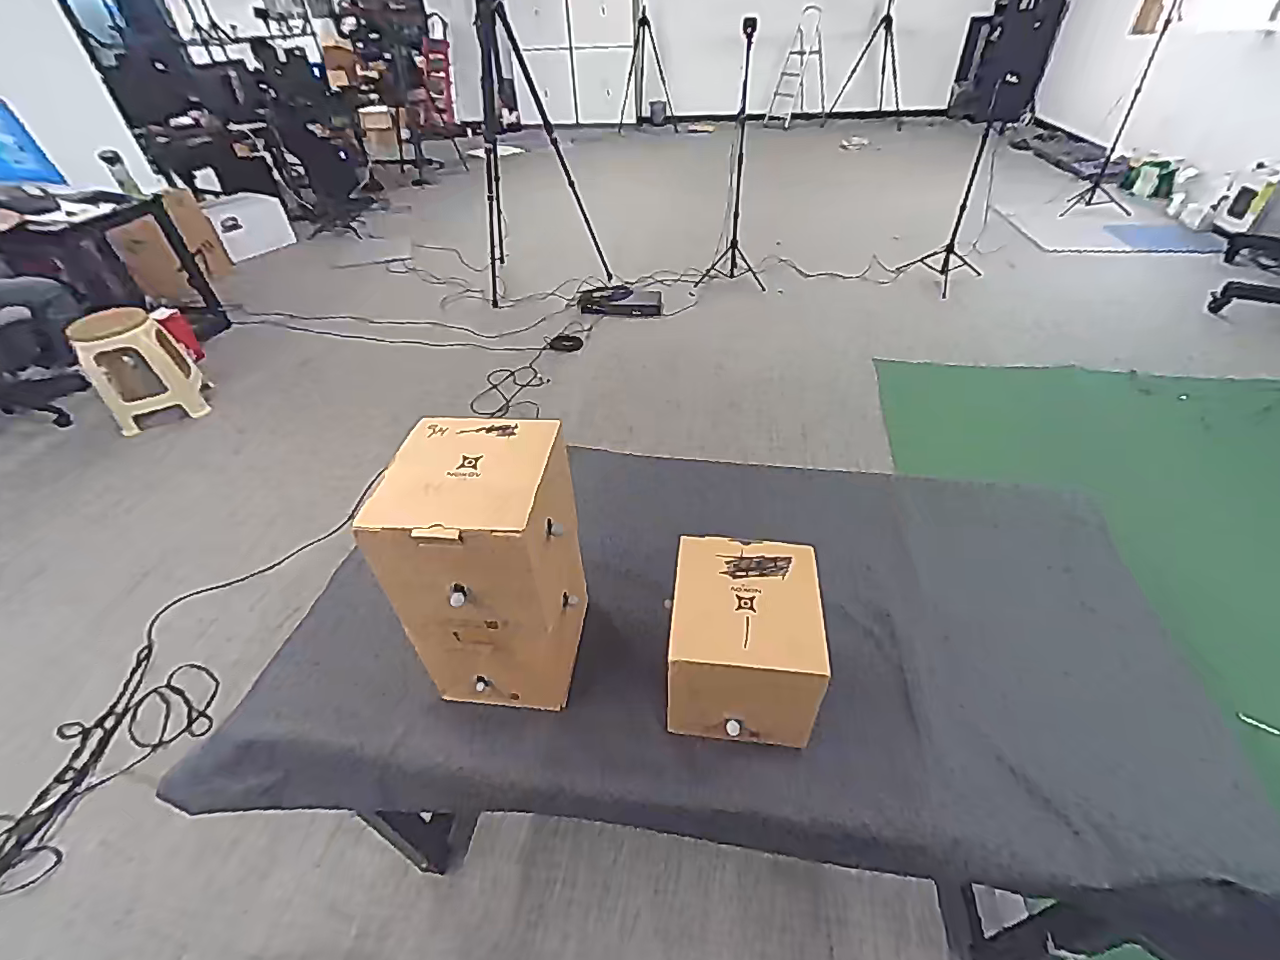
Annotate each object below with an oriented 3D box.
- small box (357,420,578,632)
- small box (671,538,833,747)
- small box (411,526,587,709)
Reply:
[{"bbox_3d":[-0.169,0.051,0.602,0.168,0.176,0.179,2,42,5],"label":"small box"},{"bbox_3d":[0.127,0.195,0.662,0.168,0.176,0.179,3,41,8],"label":"small box"},{"bbox_3d":[-0.167,0.173,0.711,0.168,0.176,0.179,3,41,6],"label":"small box"}]
